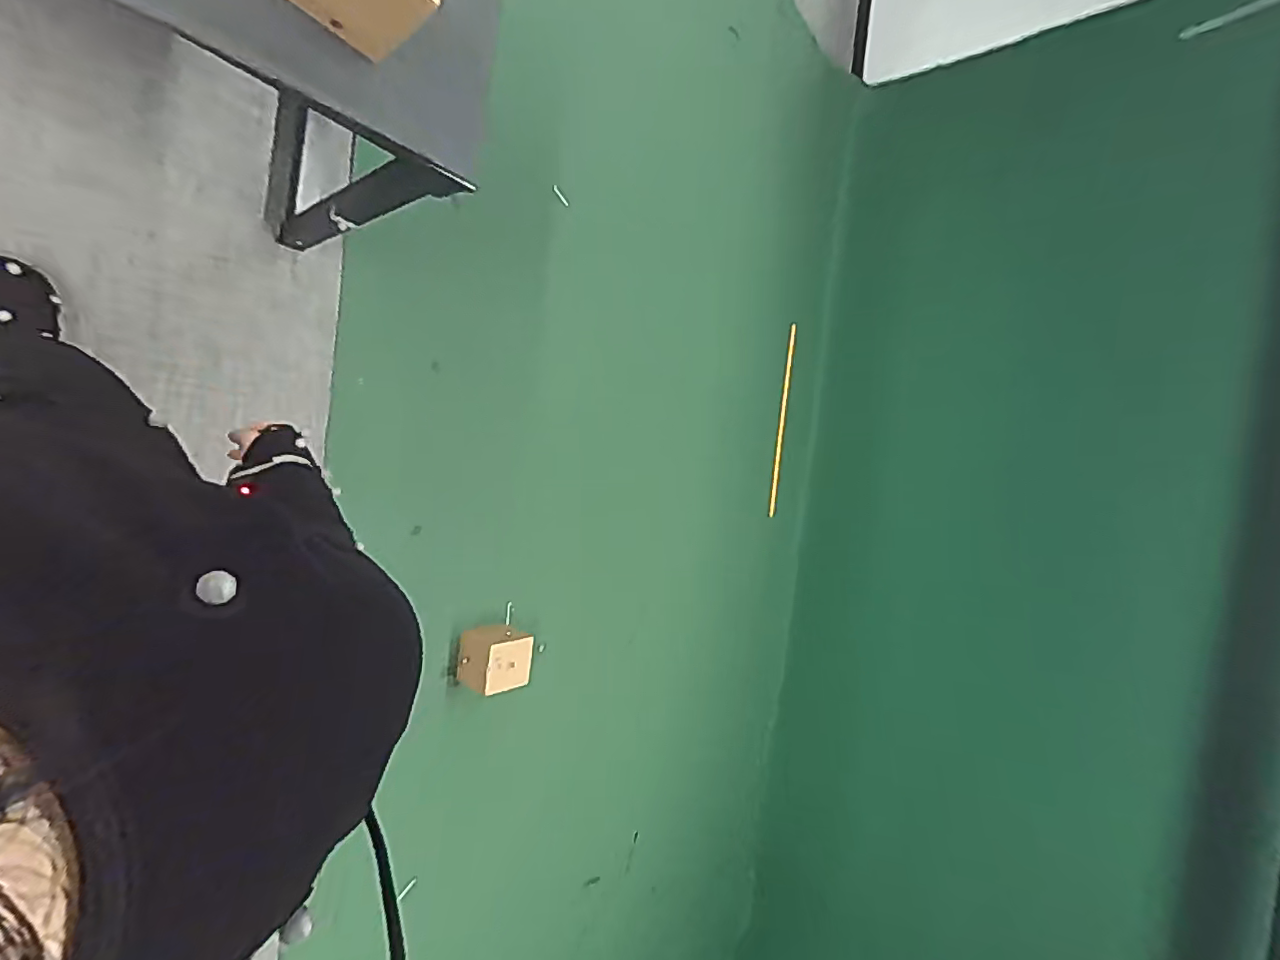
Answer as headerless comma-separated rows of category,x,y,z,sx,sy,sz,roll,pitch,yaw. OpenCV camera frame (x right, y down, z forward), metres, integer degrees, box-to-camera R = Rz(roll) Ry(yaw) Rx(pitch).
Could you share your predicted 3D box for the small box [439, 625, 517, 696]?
small box,-0.538,0.591,1.796,0.179,0.176,0.168,6,91,-53
